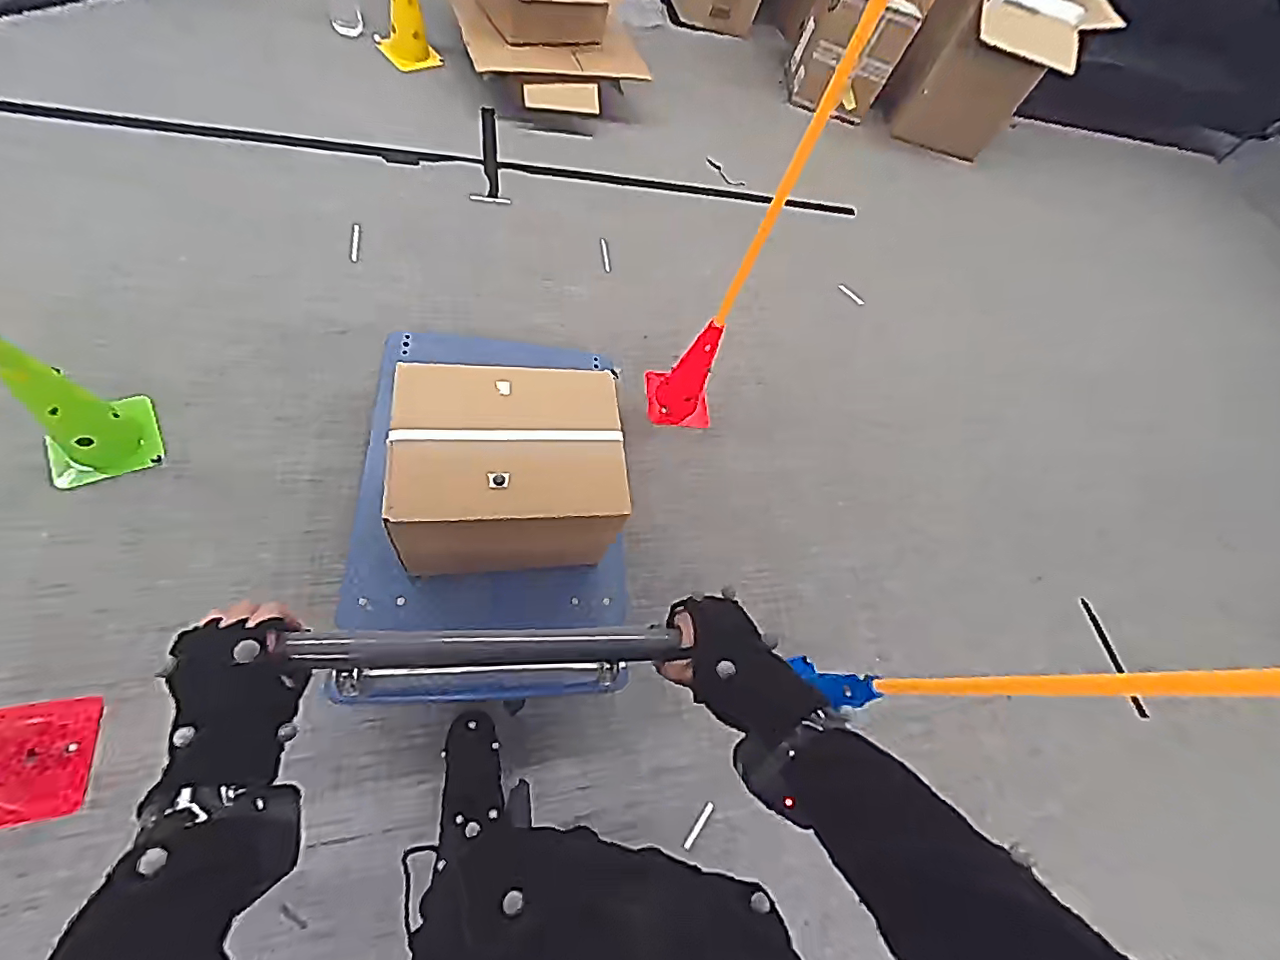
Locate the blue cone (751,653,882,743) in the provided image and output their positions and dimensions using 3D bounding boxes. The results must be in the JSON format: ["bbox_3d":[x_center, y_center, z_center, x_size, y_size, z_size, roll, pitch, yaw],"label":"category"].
[{"bbox_3d":[0.427,0.477,1.232,0.193,0.380,0.192,-6,64,-19],"label":"blue cone"}]

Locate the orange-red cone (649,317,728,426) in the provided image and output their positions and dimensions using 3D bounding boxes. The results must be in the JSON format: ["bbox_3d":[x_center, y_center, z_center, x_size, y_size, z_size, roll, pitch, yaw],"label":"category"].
[{"bbox_3d":[0.169,-0.335,1.553,0.199,0.360,0.198,5,63,-15],"label":"orange-red cone"}]
